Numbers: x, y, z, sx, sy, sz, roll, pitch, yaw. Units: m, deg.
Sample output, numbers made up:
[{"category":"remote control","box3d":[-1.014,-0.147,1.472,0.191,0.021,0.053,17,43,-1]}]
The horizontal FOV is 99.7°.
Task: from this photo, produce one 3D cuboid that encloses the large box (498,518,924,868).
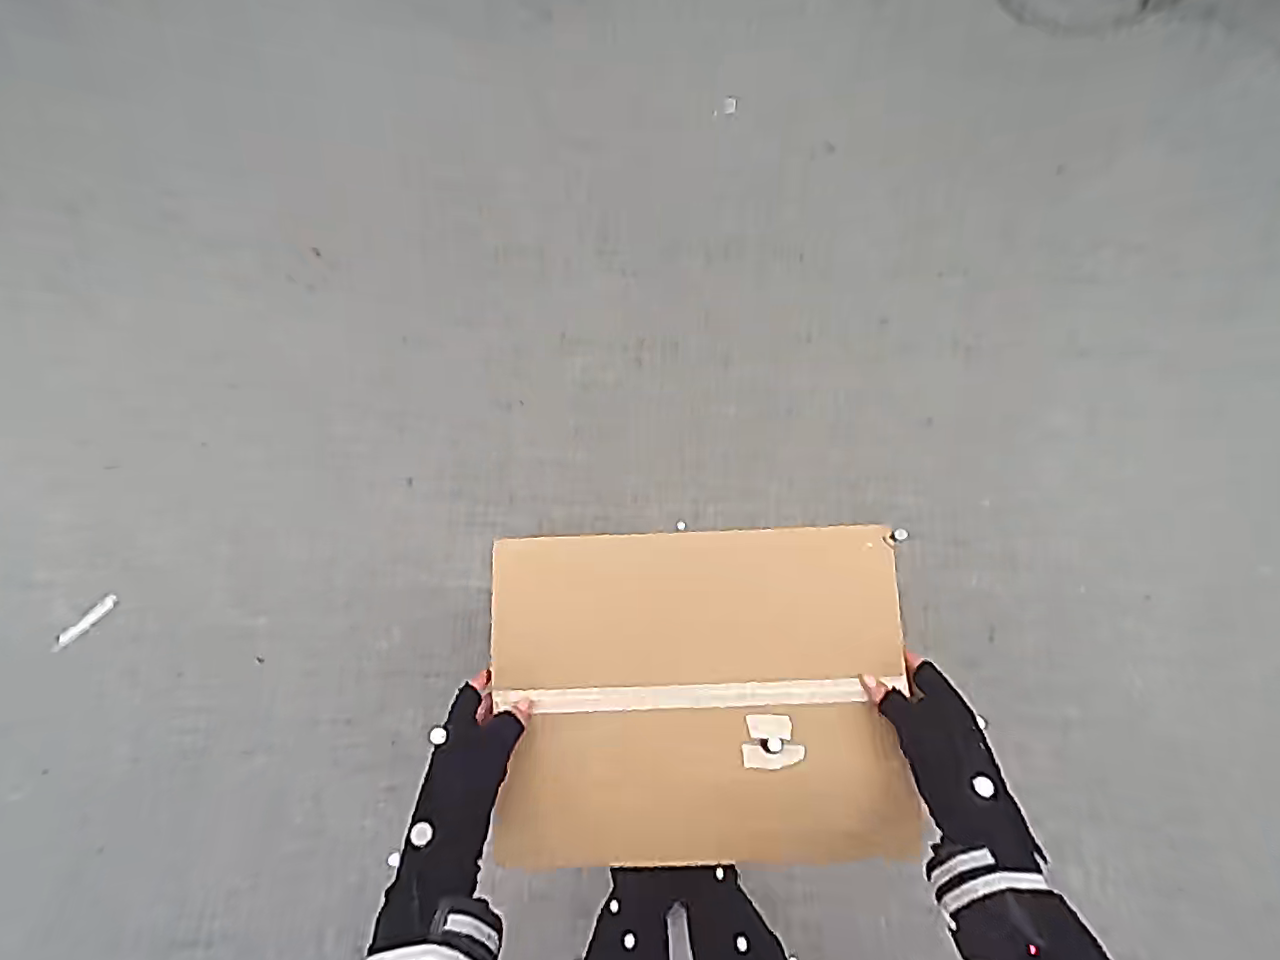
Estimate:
[{"category":"large box","box3d":[0.062,0.222,0.674,0.408,0.320,0.320,-3,83,0]}]
